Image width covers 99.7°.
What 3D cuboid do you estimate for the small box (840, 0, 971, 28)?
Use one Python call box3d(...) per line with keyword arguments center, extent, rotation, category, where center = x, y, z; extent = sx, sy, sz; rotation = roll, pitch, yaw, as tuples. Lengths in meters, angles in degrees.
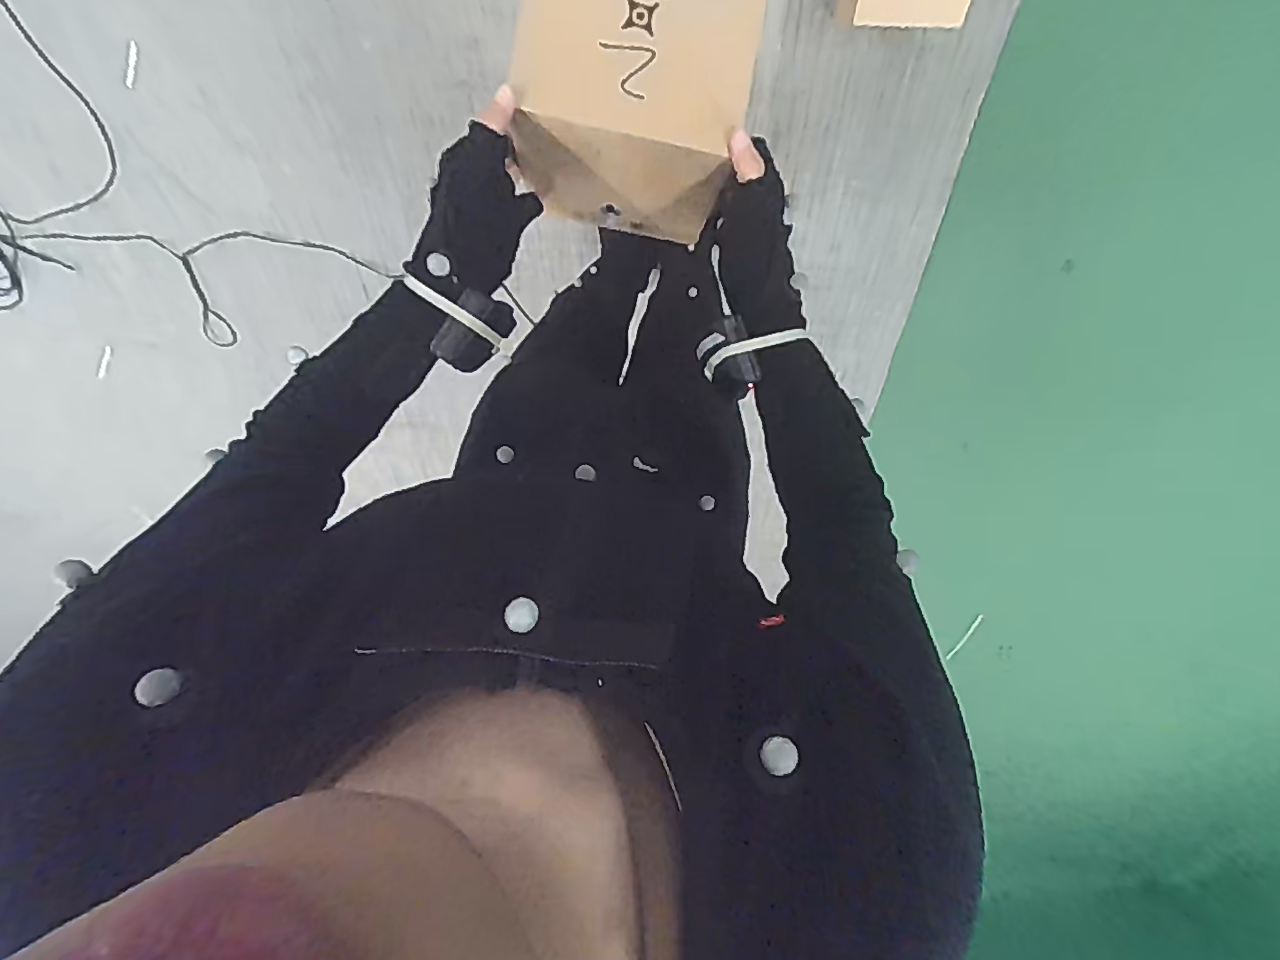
box3d(center=(0.413, -0.805, 0.816), extent=(0.168, 0.176, 0.179), rotation=(4, 133, 2), category="small box")
